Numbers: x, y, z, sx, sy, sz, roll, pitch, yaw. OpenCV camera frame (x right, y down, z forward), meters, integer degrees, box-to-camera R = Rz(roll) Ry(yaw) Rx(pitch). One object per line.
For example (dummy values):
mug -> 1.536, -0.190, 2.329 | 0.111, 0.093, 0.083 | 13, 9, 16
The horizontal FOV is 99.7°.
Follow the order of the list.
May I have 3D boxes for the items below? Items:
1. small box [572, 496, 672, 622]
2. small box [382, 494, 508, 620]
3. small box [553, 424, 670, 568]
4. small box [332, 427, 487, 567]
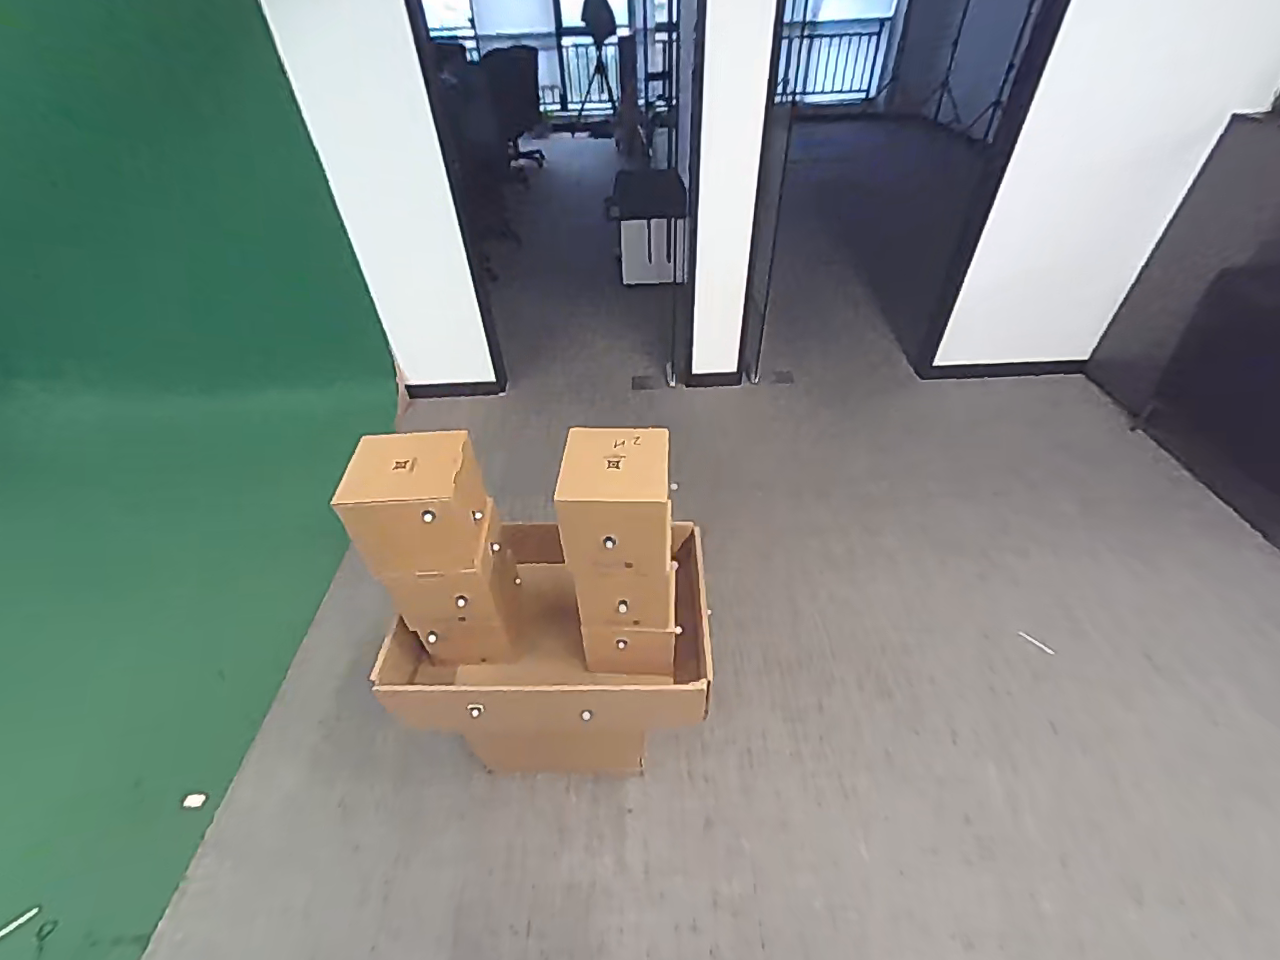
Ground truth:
small box -> -0.024, 0.146, 0.999 | 0.168, 0.176, 0.179 | 1, 44, 3
small box -> -0.349, 0.149, 1.010 | 0.168, 0.176, 0.179 | -3, 43, -2
small box -> -0.036, 0.027, 0.885 | 0.168, 0.176, 0.179 | 2, 43, 3
small box -> -0.367, 0.030, 0.899 | 0.179, 0.176, 0.168 | -4, 43, -3
